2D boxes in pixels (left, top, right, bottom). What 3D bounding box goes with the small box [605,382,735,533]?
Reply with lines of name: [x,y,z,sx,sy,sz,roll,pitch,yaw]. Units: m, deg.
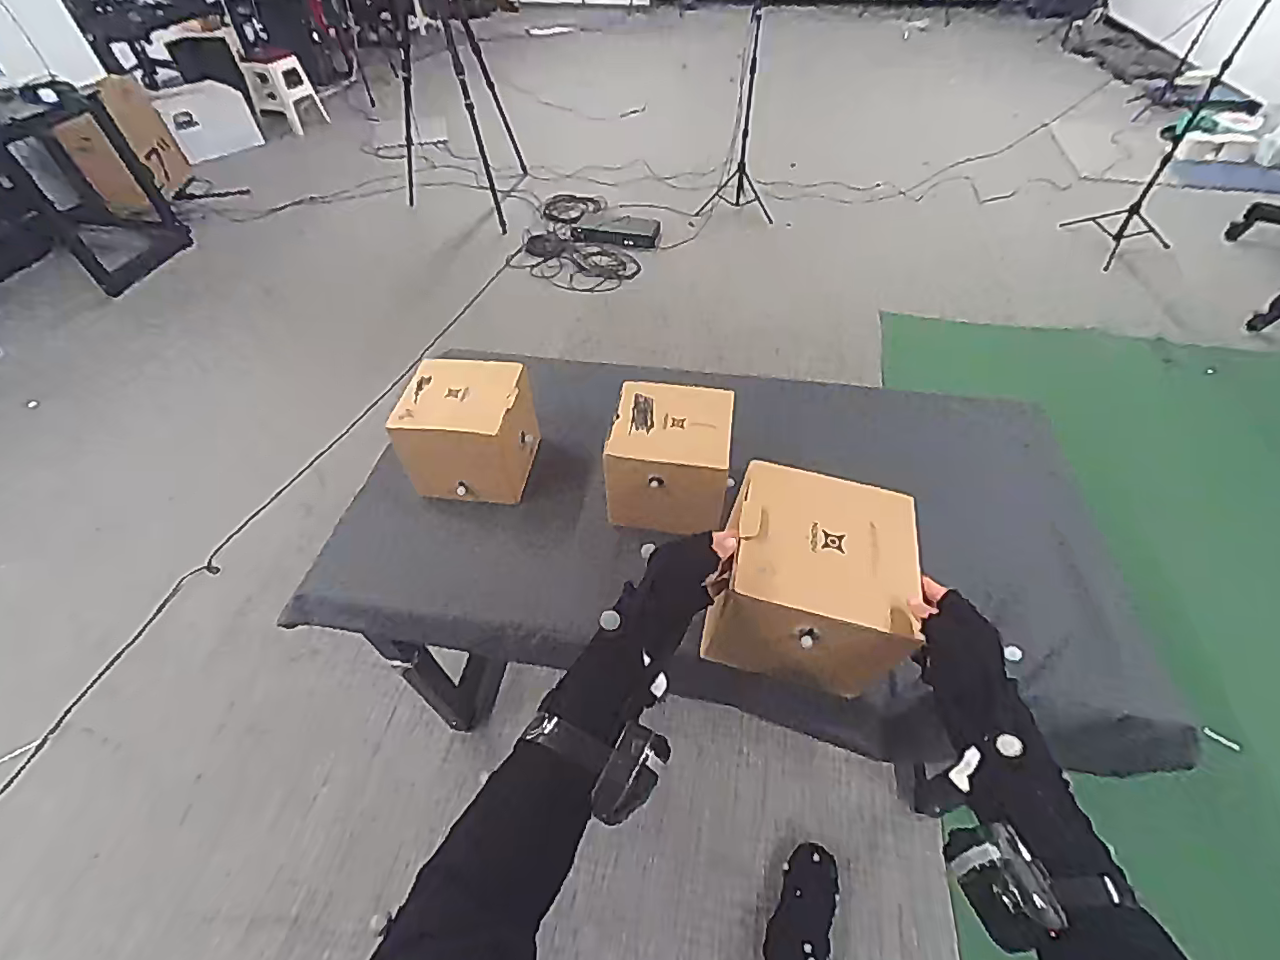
small box: [0.050,-0.033,0.860,0.179,0.176,0.168,7,50,6]

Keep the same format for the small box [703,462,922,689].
small box: [0.175,0.110,0.593,0.179,0.176,0.168,14,53,3]

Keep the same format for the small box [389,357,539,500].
small box: [-0.278,-0.082,0.906,0.179,0.176,0.168,5,50,4]
